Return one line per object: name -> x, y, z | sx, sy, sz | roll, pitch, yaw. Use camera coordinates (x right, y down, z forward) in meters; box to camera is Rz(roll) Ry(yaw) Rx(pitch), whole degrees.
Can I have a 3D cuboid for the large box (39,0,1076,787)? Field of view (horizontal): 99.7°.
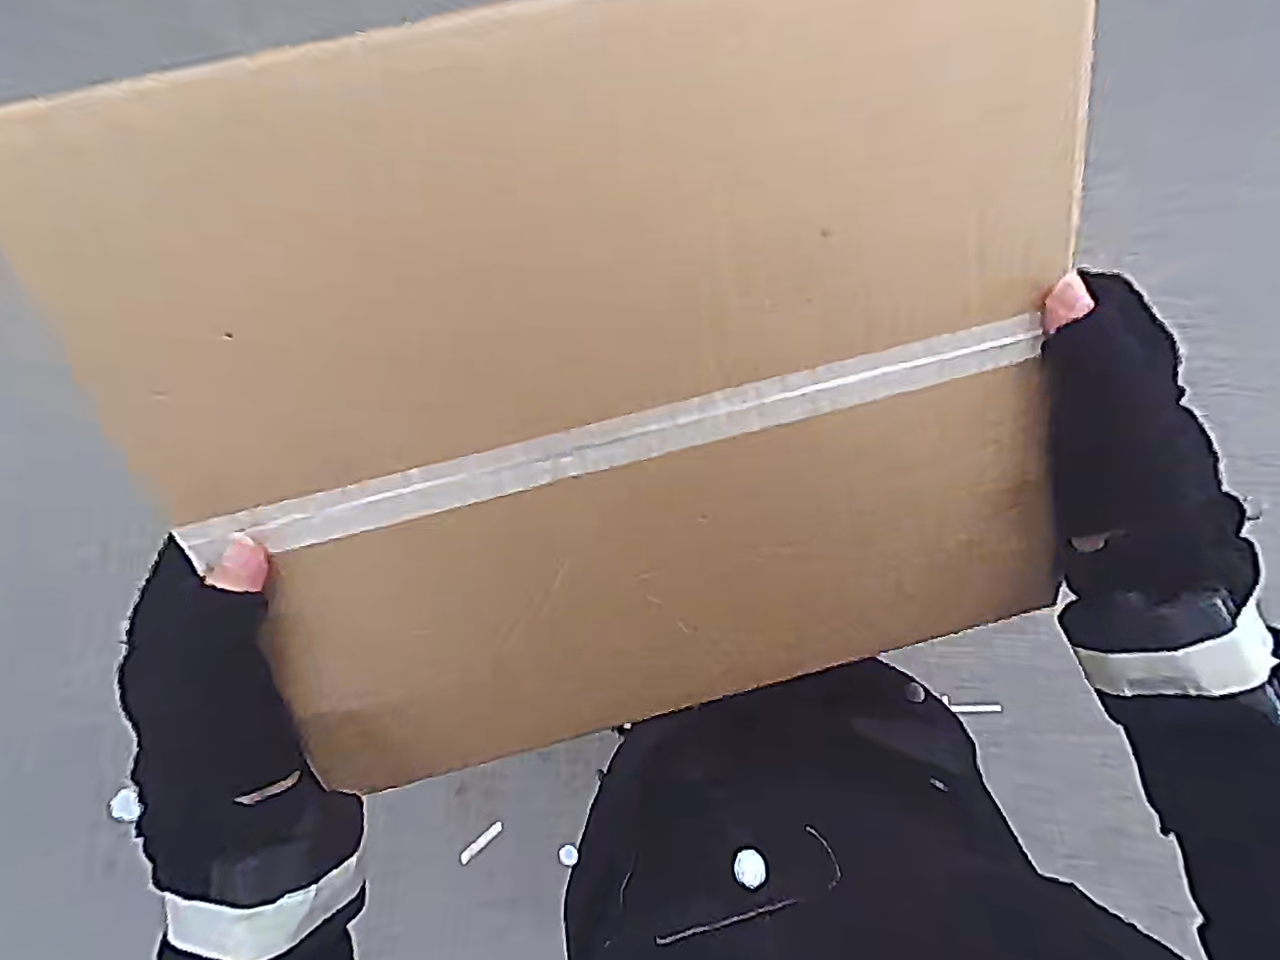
large box -> -0.010, -0.067, 0.391 | 0.408, 0.320, 0.320 | -14, 110, -2
